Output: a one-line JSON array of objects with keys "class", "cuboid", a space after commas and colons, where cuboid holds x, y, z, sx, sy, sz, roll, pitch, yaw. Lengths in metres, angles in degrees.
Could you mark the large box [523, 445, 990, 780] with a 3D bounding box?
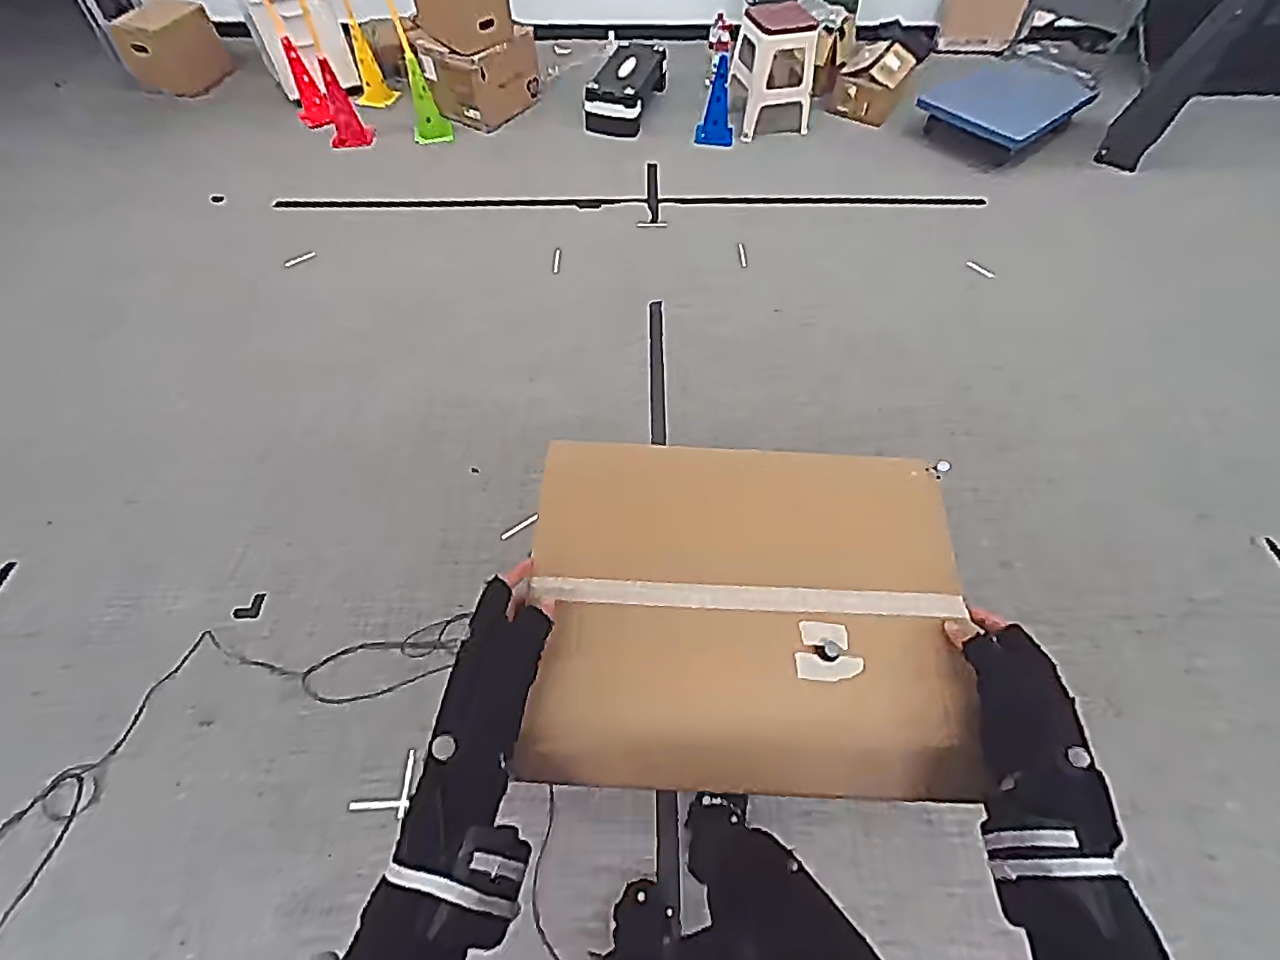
[{"class": "large box", "cuboid": [0.096, 0.171, 0.648, 0.408, 0.320, 0.320, 3, 65, -1]}]
